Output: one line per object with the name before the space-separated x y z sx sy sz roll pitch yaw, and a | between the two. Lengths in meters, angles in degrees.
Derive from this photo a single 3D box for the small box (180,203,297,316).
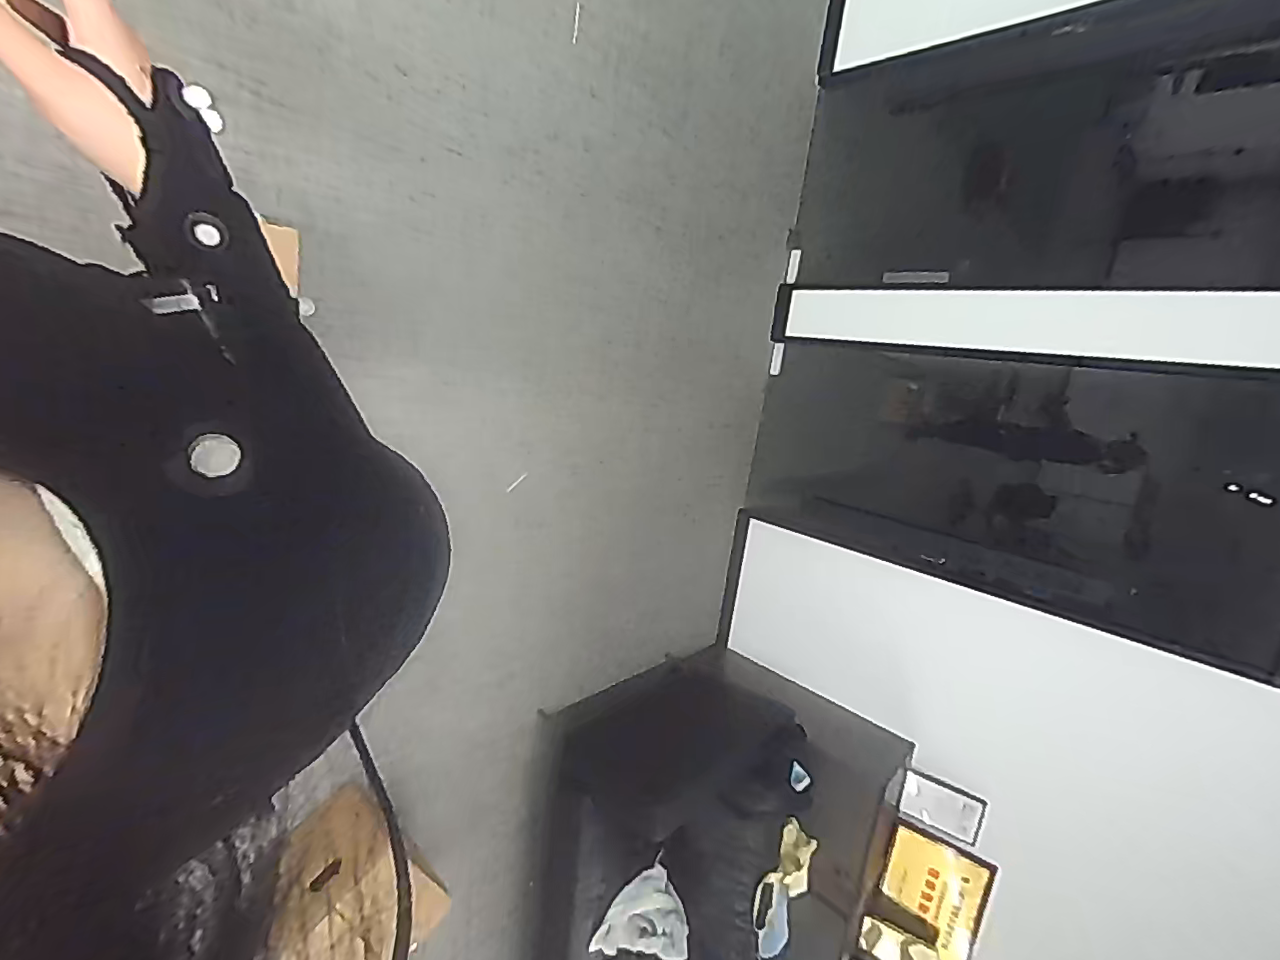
small box | -0.828 -0.444 1.114 0.168 0.176 0.179 -3 106 -48

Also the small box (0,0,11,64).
small box | -0.409 -0.311 0.226 0.179 0.176 0.168 -7 121 -47
